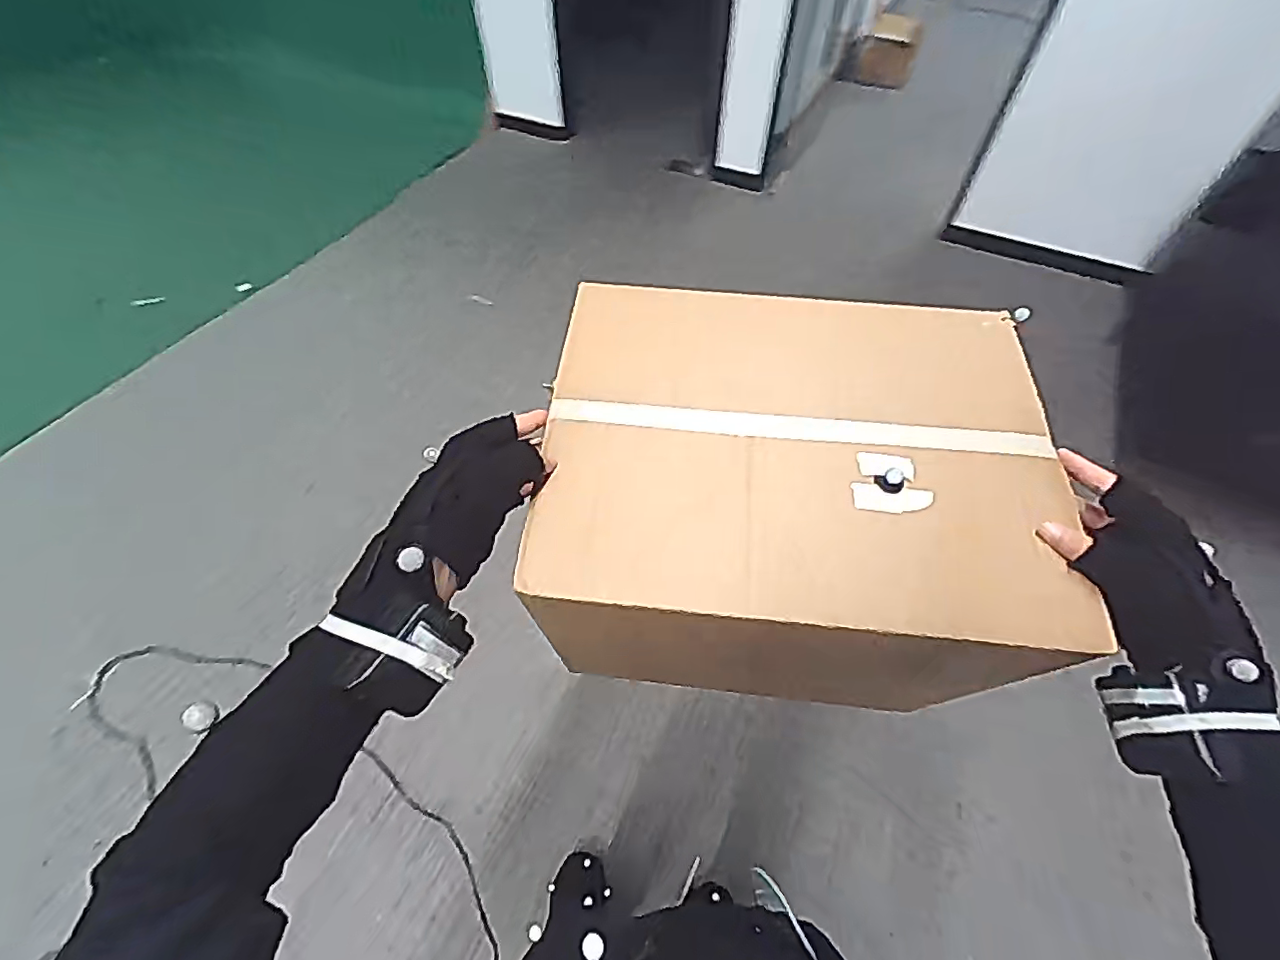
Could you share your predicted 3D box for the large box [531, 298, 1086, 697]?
[{"bbox_3d":[0.124,0.037,0.584,0.408,0.320,0.320,4,61,2],"label":"large box"}]
